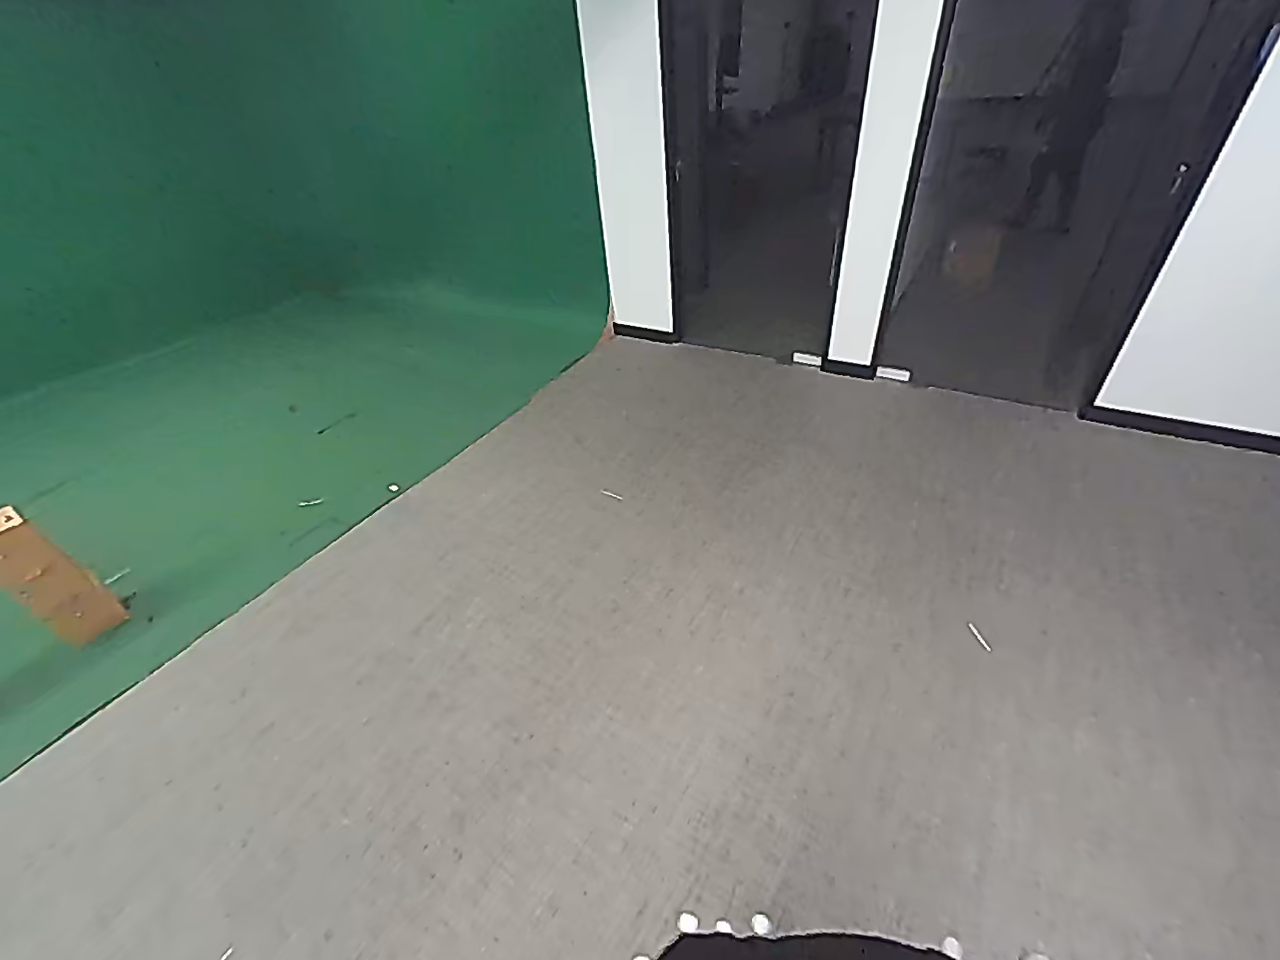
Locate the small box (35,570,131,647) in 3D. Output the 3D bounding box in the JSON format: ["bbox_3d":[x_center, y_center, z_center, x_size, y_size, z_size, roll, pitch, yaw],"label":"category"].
[{"bbox_3d":[-2.005,0.466,1.959,0.168,0.176,0.179,22,47,30],"label":"small box"}]

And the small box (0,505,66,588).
[{"bbox_3d":[-2.038,0.217,1.748,0.168,0.176,0.179,20,46,29],"label":"small box"}]
